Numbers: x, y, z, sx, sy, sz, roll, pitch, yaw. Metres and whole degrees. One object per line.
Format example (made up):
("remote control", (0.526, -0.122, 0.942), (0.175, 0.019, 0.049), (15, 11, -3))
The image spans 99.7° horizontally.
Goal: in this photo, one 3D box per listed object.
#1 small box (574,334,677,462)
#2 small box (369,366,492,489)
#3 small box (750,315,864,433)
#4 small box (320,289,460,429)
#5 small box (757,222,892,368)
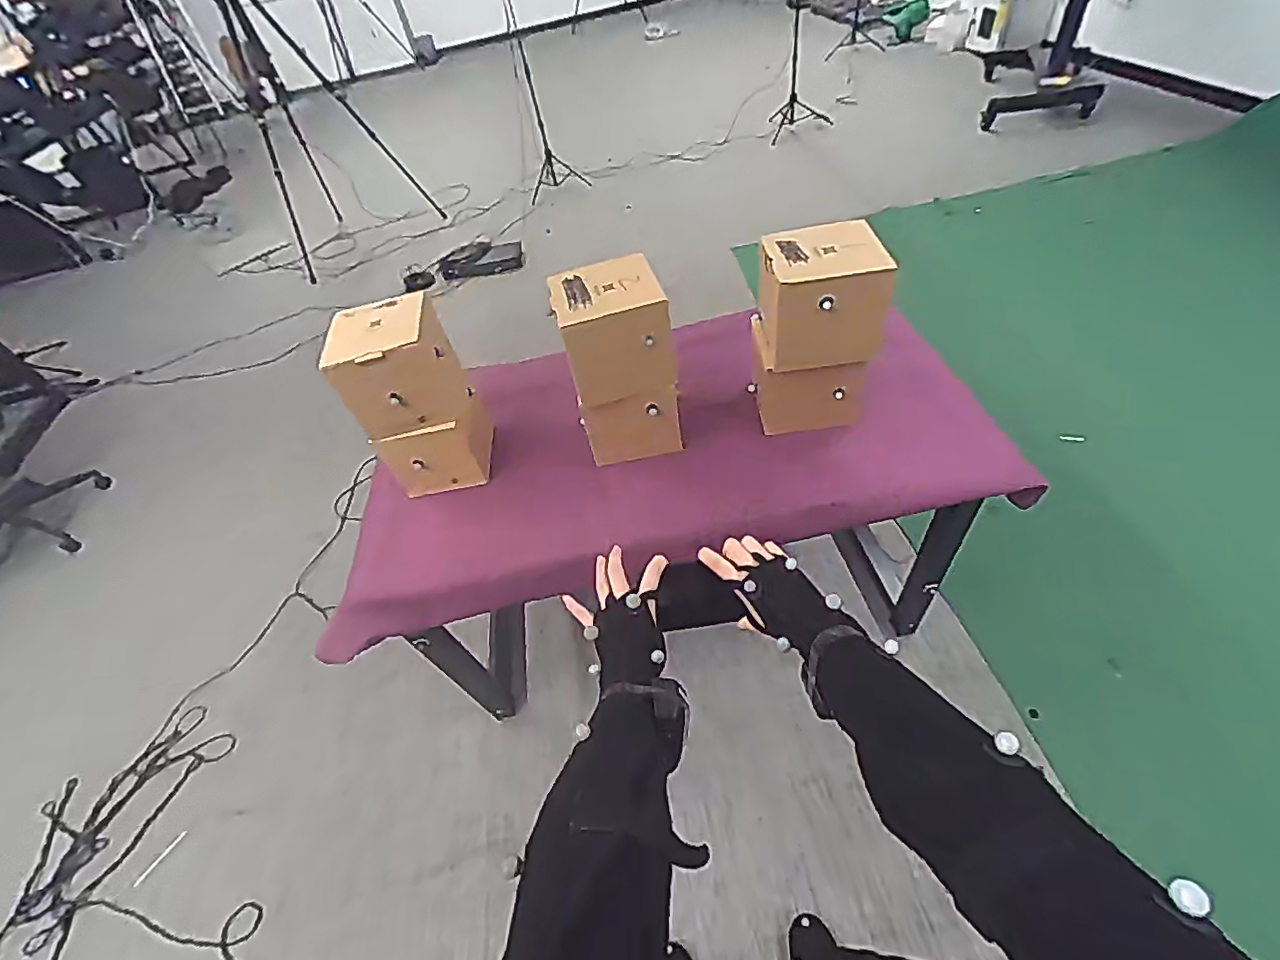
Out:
("small box", (-0.025, -0.157, 1.065), (0.179, 0.176, 0.168), (-11, 49, 2))
("small box", (-0.410, -0.099, 1.093), (0.168, 0.176, 0.179), (-10, 49, 3))
("small box", (0.311, -0.210, 1.044), (0.179, 0.176, 0.168), (-6, 49, 6))
("small box", (-0.436, -0.210, 0.975), (0.168, 0.176, 0.179), (-14, 49, -1))
("small box", (0.297, -0.305, 0.911), (0.179, 0.176, 0.168), (-6, 49, 5))
